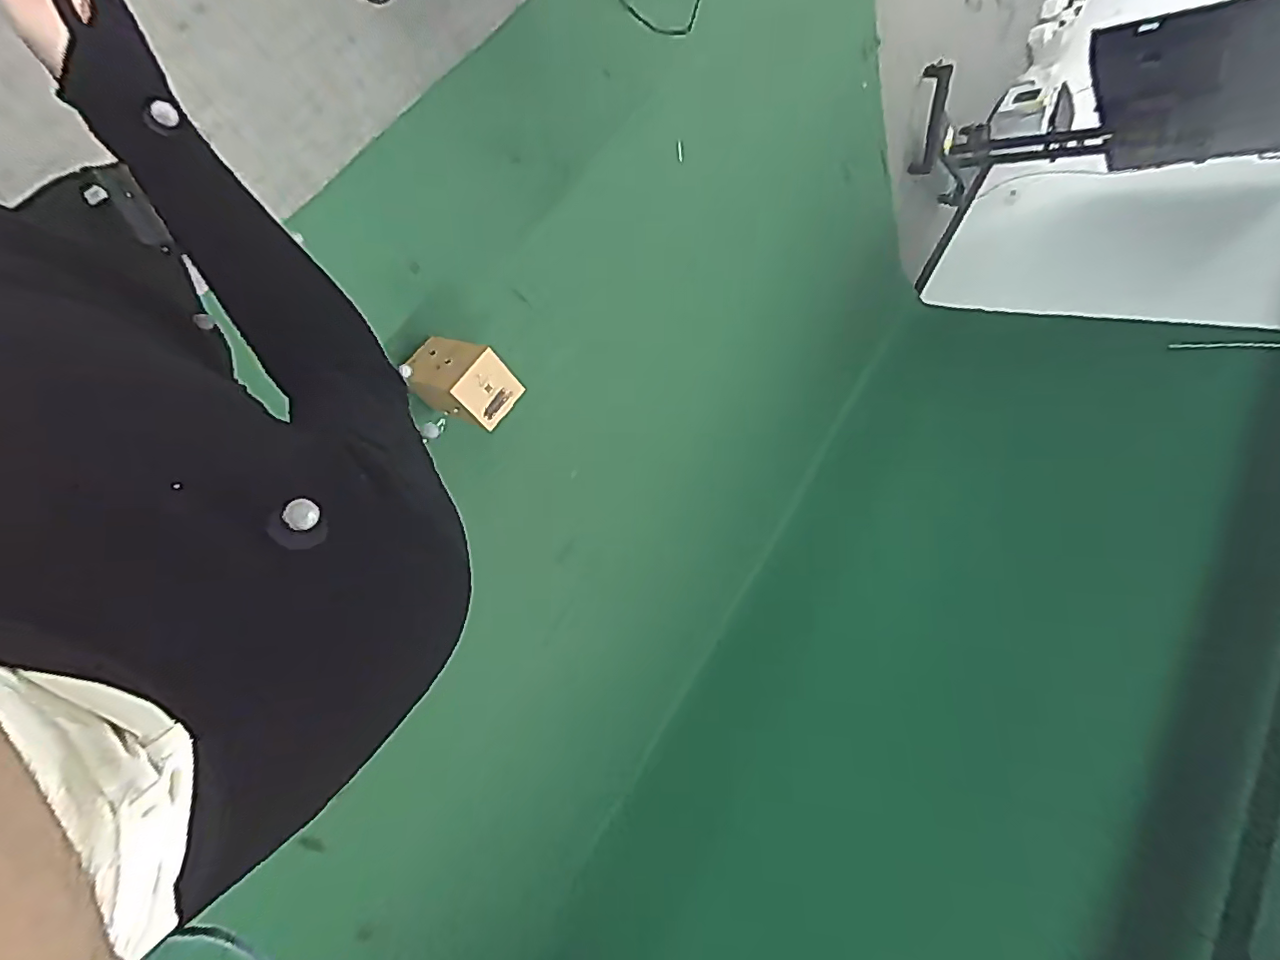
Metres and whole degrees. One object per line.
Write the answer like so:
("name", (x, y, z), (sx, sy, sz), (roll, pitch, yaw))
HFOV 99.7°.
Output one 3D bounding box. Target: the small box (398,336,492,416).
("small box", (-0.596, -0.322, 1.646), (0.168, 0.176, 0.179), (-57, 140, -17))
